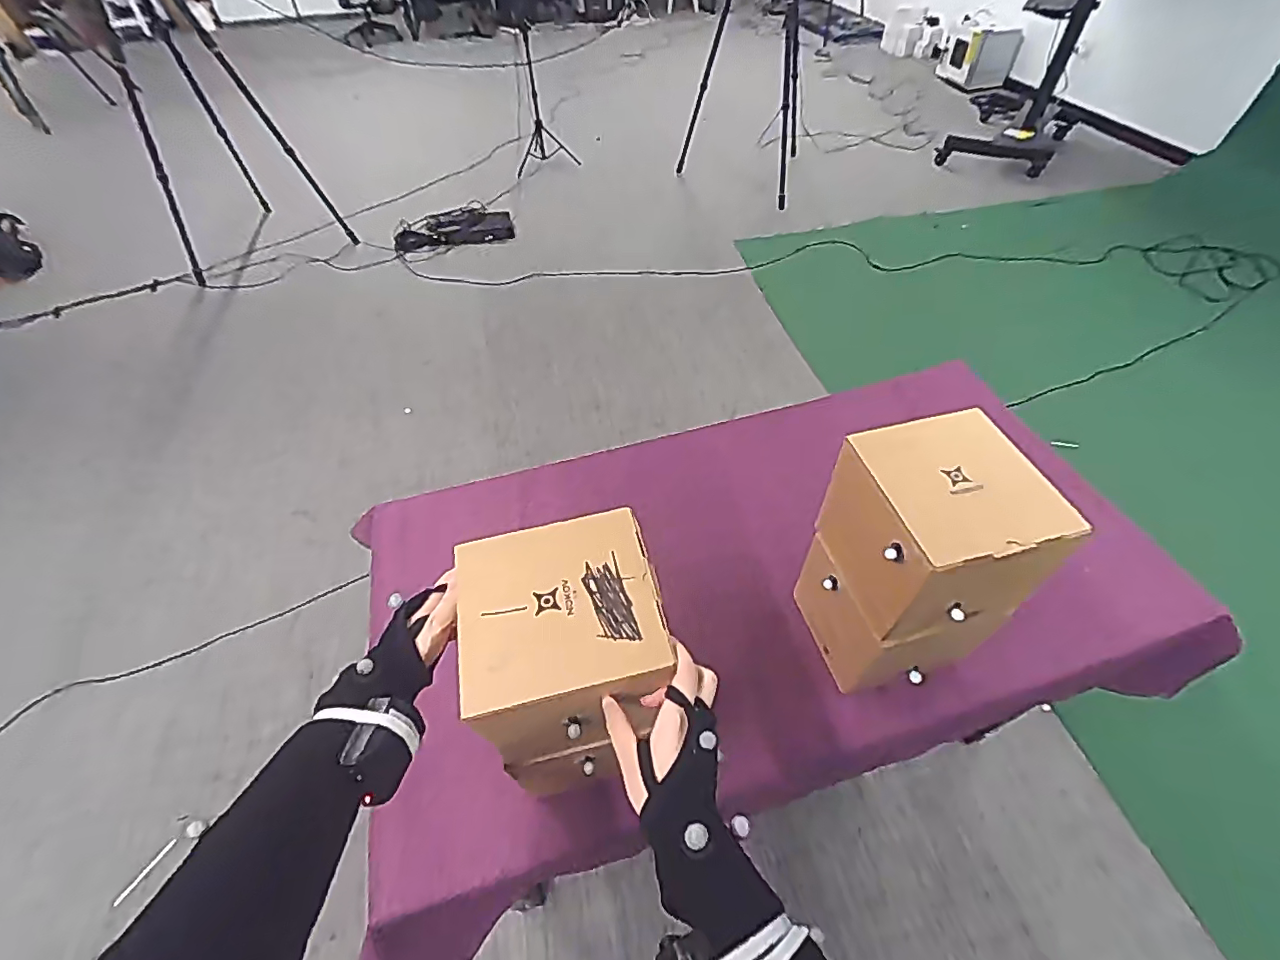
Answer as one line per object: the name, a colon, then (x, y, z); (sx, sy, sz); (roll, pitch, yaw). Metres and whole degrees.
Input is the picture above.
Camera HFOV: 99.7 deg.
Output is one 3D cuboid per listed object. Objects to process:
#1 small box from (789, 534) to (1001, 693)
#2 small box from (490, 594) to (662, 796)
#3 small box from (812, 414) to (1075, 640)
small box: (0.328, 0.167, 0.737); (0.179, 0.176, 0.168); (-12, 50, -9)
small box: (-0.075, 0.268, 0.666); (0.179, 0.176, 0.168); (-11, 51, -8)
small box: (0.319, 0.055, 0.618); (0.168, 0.176, 0.179); (-12, 52, -8)
